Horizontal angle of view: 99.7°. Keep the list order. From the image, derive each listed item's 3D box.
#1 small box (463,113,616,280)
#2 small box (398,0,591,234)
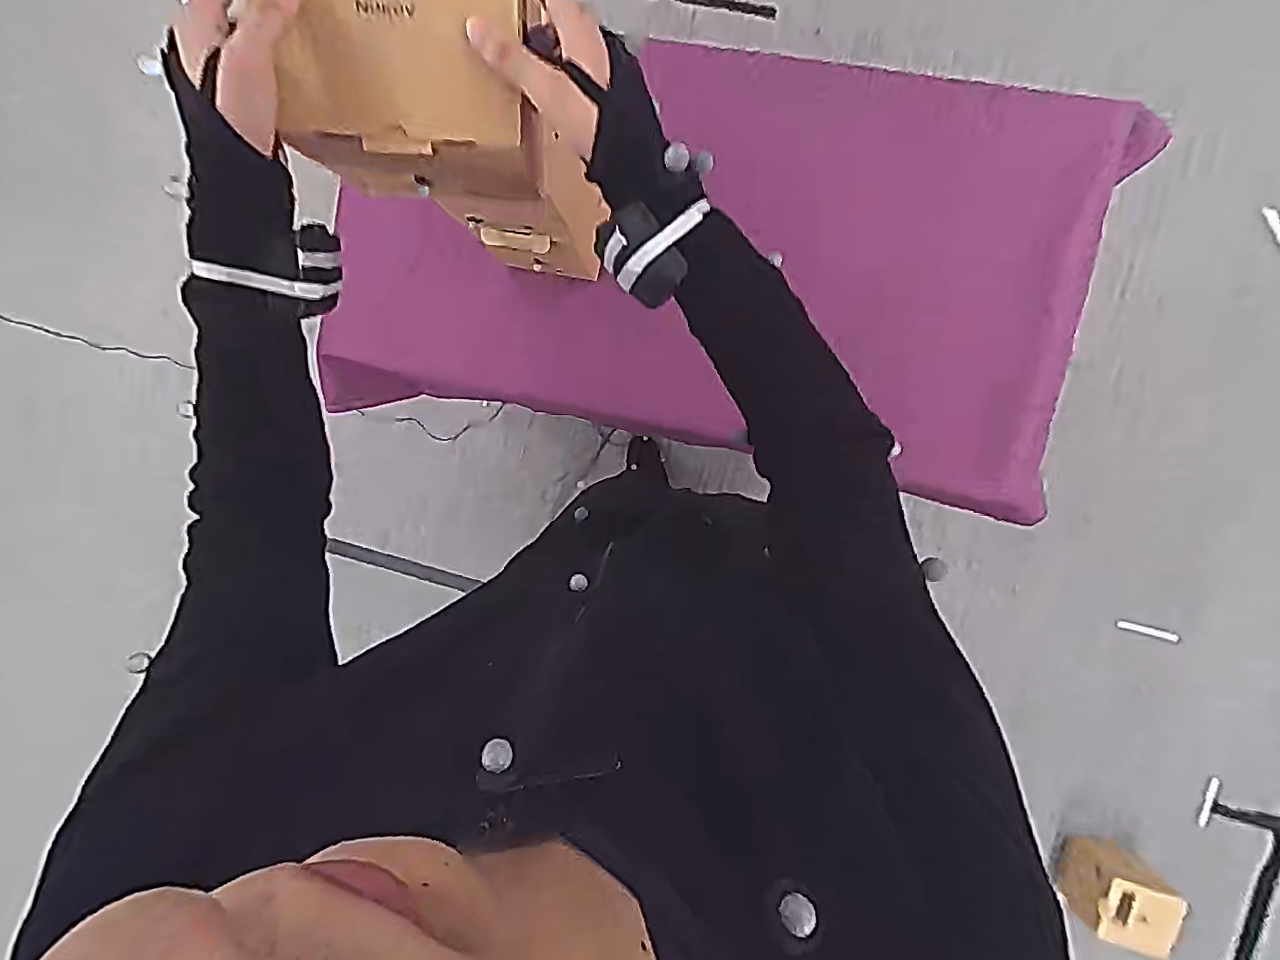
[{"bbox_3d":[-0.140,-0.427,0.817,0.168,0.176,0.179,13,94,7],"label":"small box"},{"bbox_3d":[-0.162,-0.421,0.654,0.168,0.176,0.179,9,93,7],"label":"small box"}]
